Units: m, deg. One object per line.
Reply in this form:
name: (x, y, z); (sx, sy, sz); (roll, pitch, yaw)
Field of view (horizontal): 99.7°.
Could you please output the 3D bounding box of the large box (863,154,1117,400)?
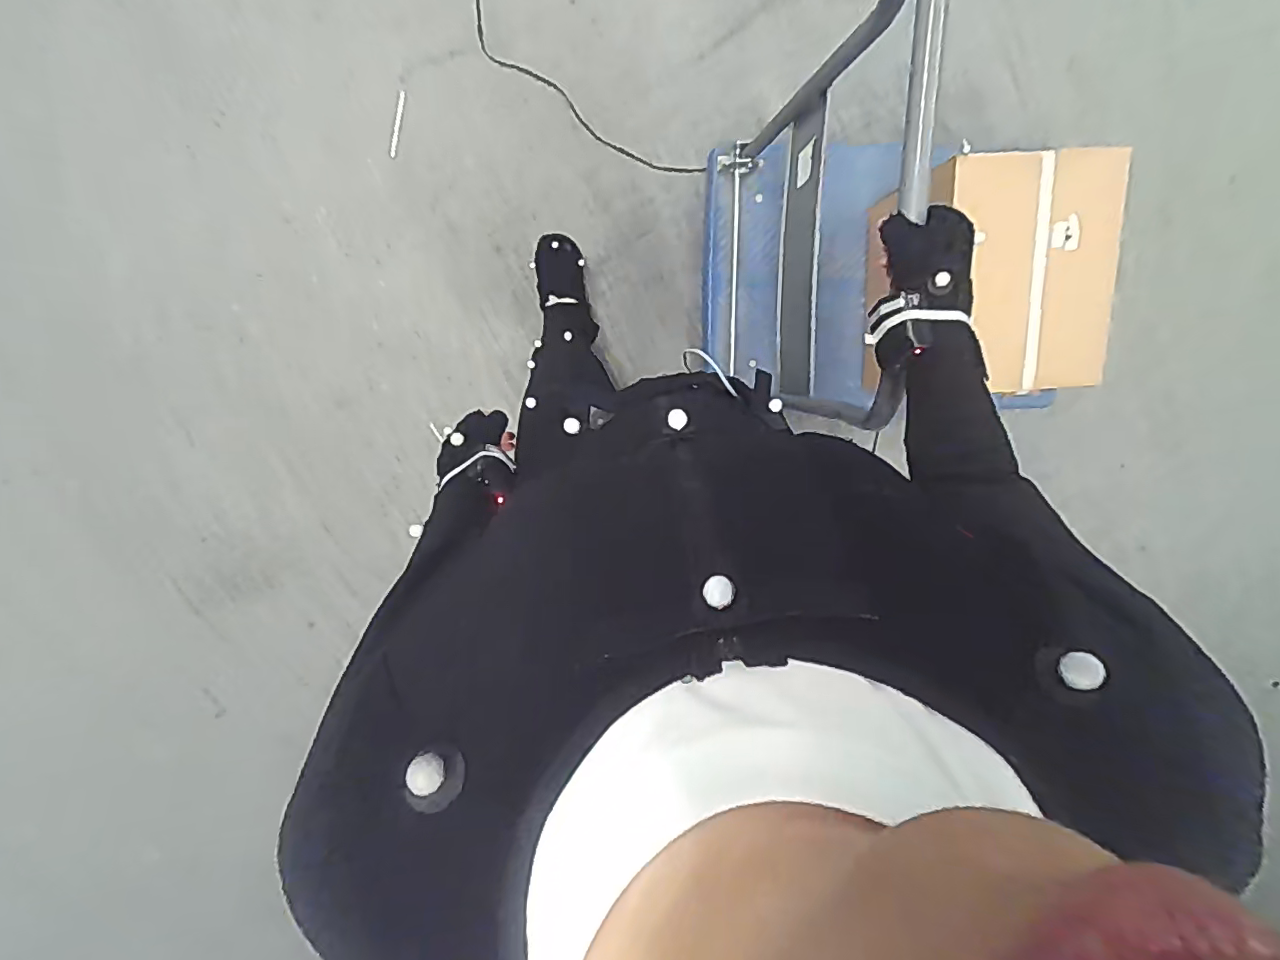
large box: (0.672, -0.380, 1.102); (0.320, 0.320, 0.408); (-5, 101, -4)
